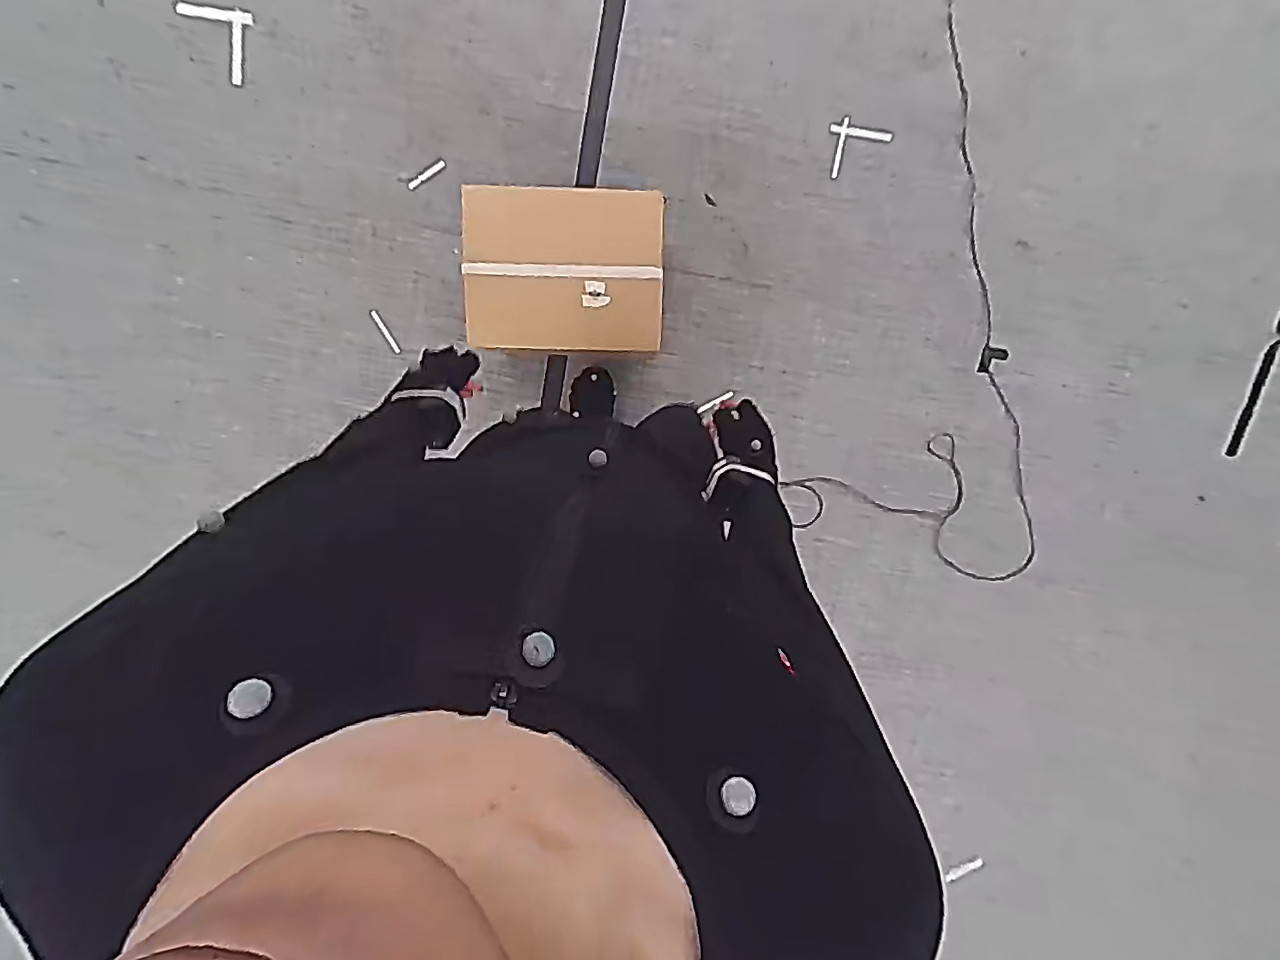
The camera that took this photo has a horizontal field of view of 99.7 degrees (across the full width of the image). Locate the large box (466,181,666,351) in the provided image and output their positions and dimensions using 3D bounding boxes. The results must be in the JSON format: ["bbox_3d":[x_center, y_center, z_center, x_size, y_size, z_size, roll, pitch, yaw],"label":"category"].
[{"bbox_3d":[-0.153,-0.465,1.246,0.408,0.320,0.320,1,101,-2],"label":"large box"}]
